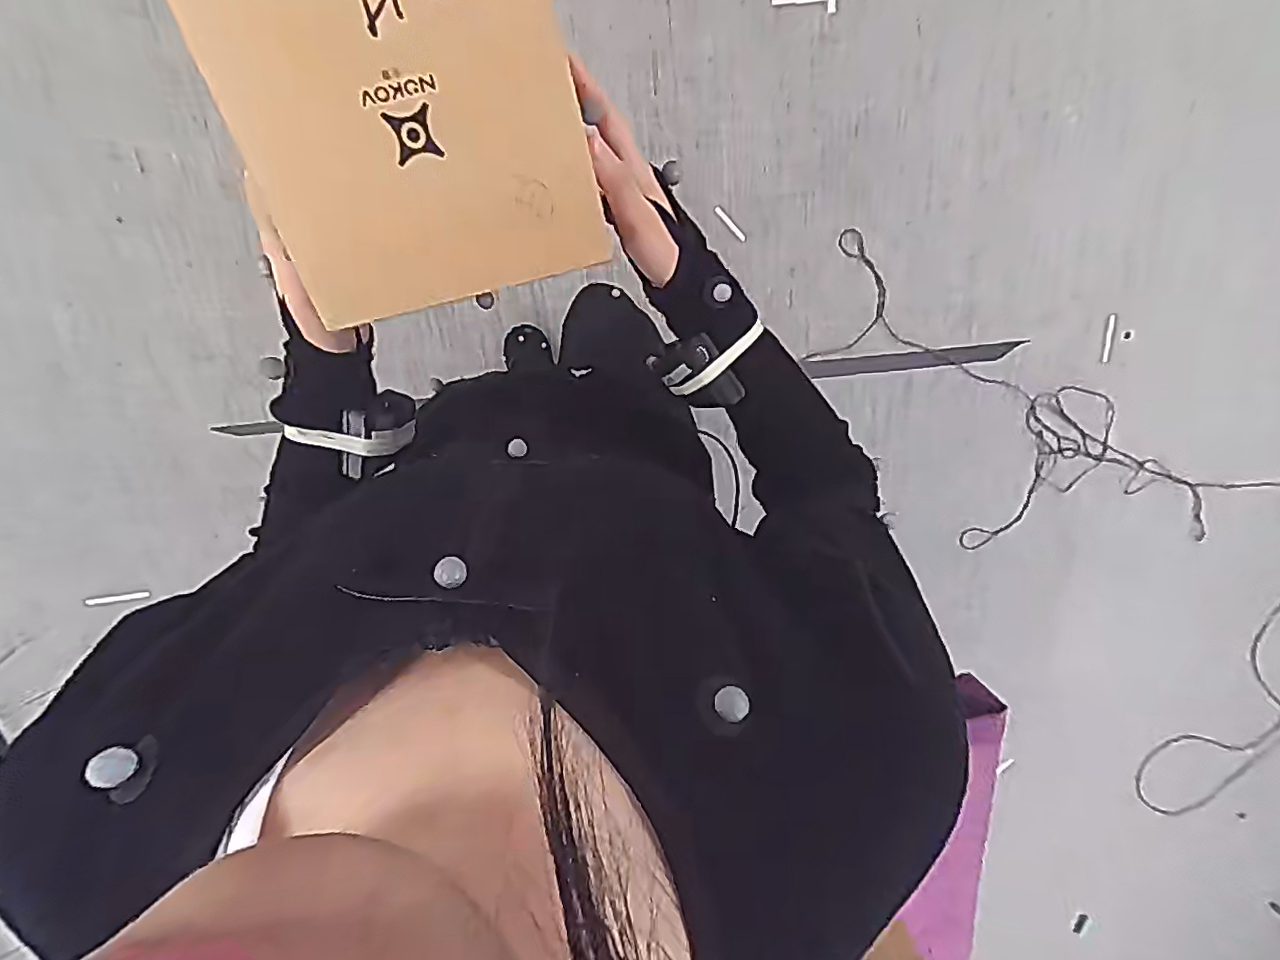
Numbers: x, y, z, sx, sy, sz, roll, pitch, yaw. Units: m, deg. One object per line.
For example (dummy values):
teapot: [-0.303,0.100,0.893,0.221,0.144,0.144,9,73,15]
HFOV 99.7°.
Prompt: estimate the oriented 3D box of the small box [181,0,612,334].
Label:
small box: [-0.122,-0.210,0.340,0.168,0.176,0.179,-16,116,-3]
